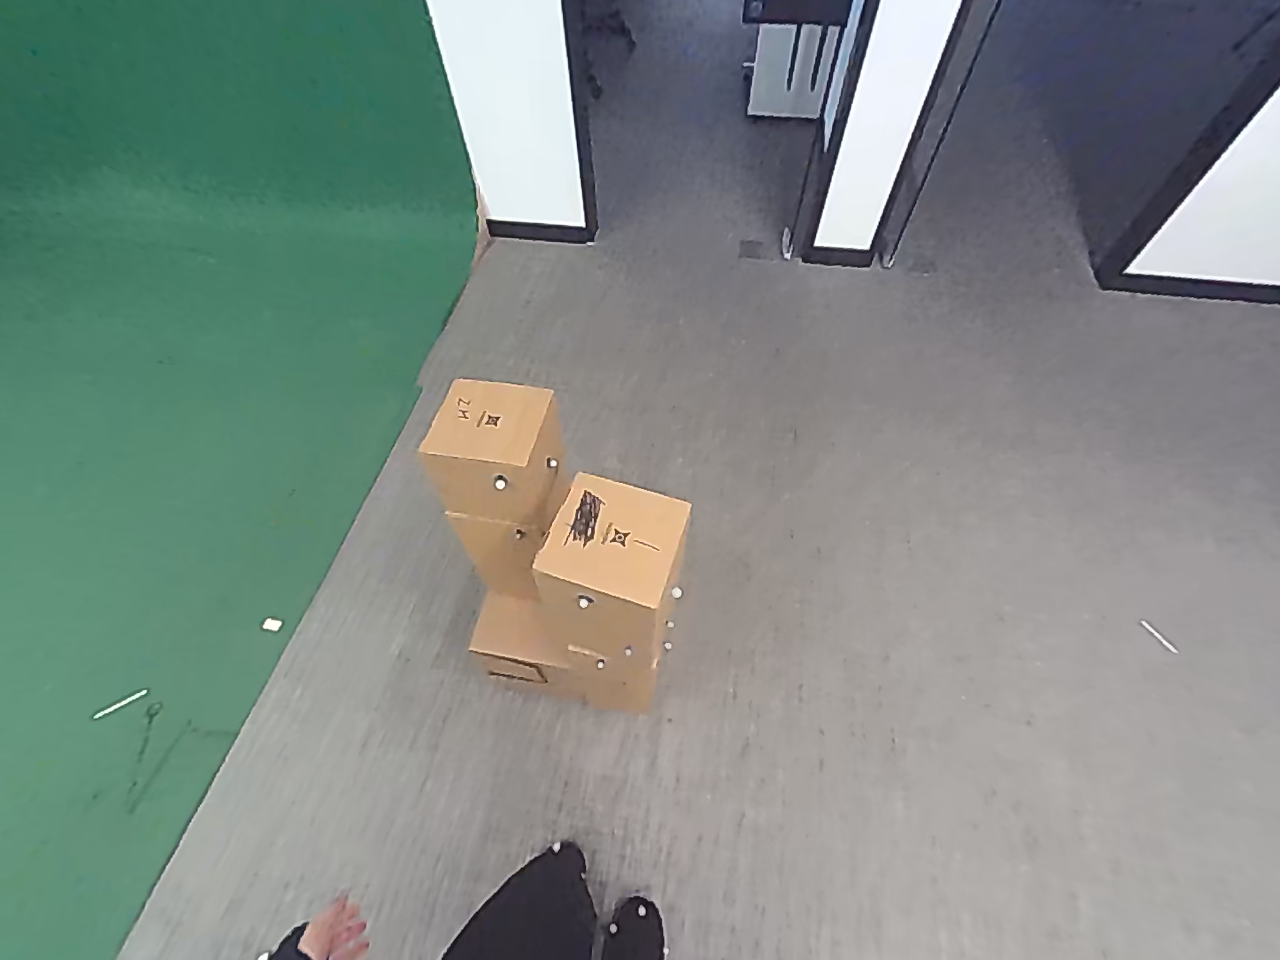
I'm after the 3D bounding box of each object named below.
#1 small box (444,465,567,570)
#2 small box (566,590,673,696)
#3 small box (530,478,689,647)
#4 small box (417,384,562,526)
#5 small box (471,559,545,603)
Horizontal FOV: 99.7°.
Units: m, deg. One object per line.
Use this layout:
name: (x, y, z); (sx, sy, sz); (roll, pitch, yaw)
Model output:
small box: (-0.249, 0.061, 1.056); (0.179, 0.176, 0.168); (8, 54, 5)
small box: (-0.037, 0.305, 1.077); (0.168, 0.176, 0.179); (12, 56, 8)
small box: (-0.039, 0.127, 0.800); (0.179, 0.176, 0.168); (17, 58, 9)
small box: (-0.241, -0.039, 0.924); (0.179, 0.176, 0.168); (8, 53, 6)
small box: (-0.241, 0.159, 1.185); (0.179, 0.176, 0.168); (6, 54, 6)
